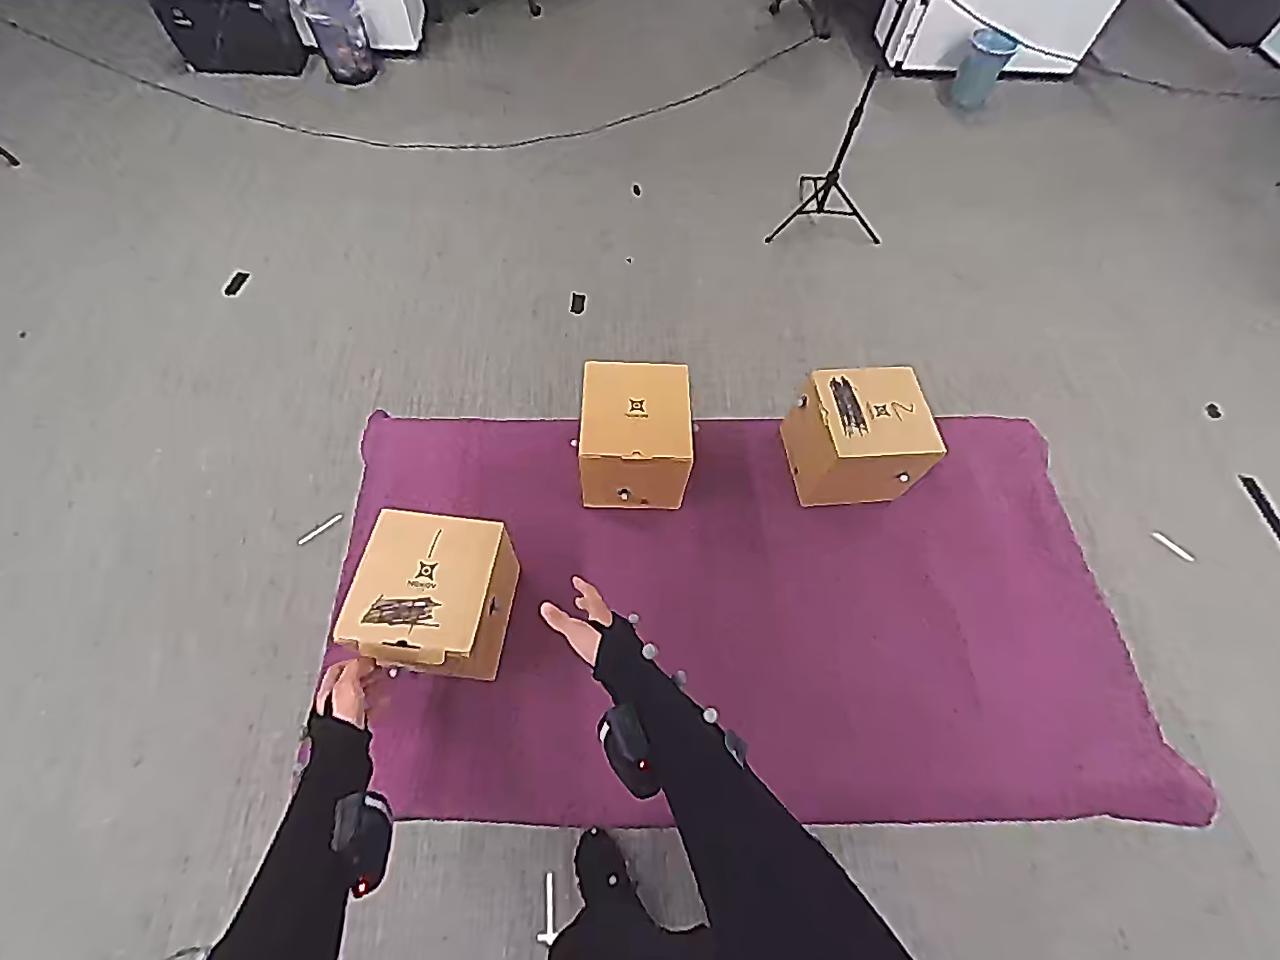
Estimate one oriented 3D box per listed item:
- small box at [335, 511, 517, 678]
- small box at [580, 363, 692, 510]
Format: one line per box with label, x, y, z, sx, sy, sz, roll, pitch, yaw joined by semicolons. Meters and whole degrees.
small box;-0.274;0.165;0.744;0.168;0.176;0.179;7;60;0
small box;-0.011;-0.067;0.882;0.168;0.176;0.179;1;62;-3
